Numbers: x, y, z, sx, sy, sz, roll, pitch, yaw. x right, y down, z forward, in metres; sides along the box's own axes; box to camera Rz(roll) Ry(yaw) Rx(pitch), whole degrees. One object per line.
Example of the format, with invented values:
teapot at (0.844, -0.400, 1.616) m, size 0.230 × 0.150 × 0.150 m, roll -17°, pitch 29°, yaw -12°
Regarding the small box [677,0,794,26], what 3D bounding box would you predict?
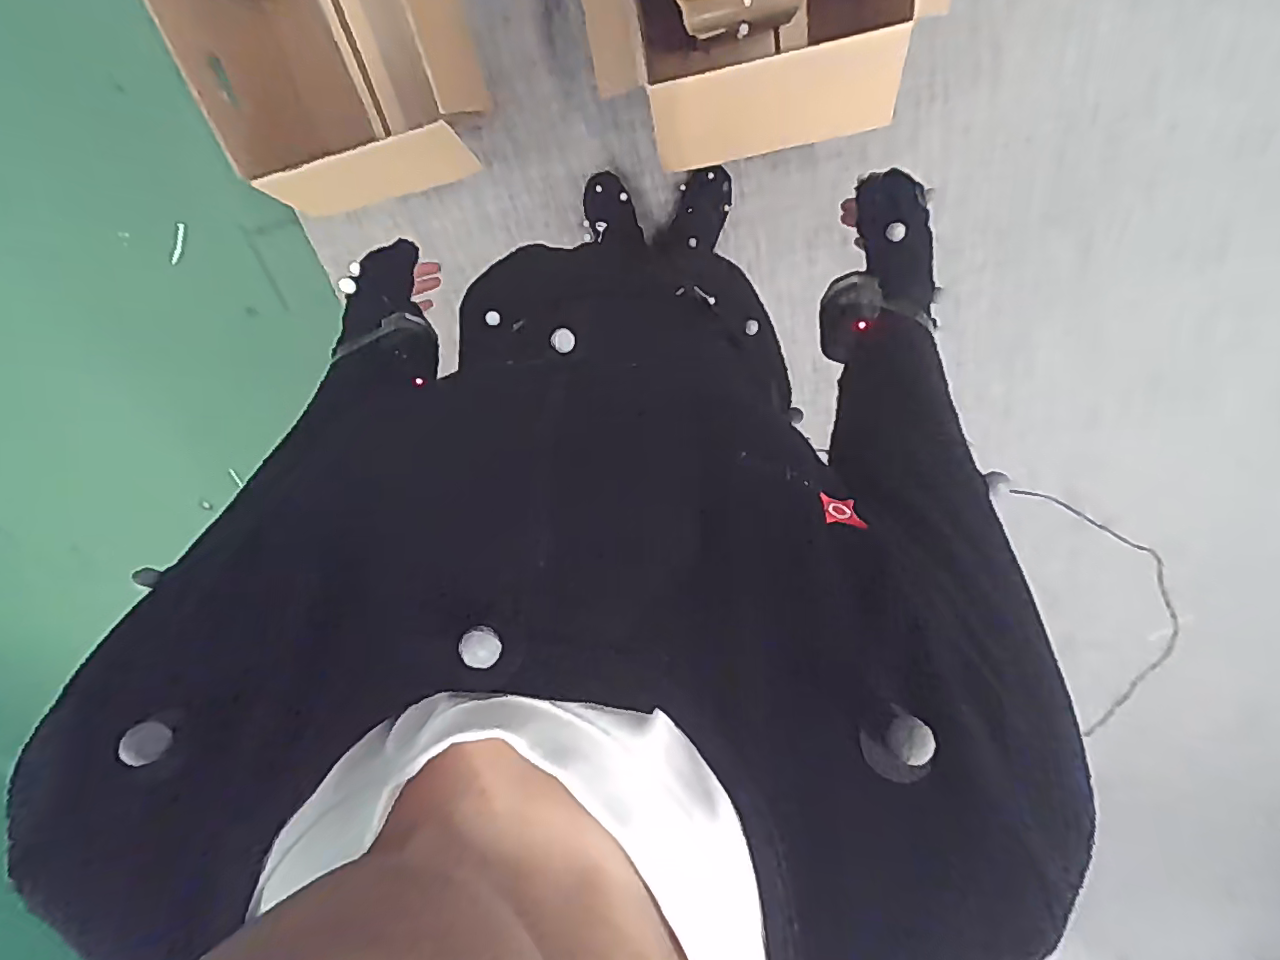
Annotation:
small box at (0.126, -0.685, 0.660) m, size 0.179 × 0.176 × 0.168 m, roll -6°, pitch 124°, yaw 11°
